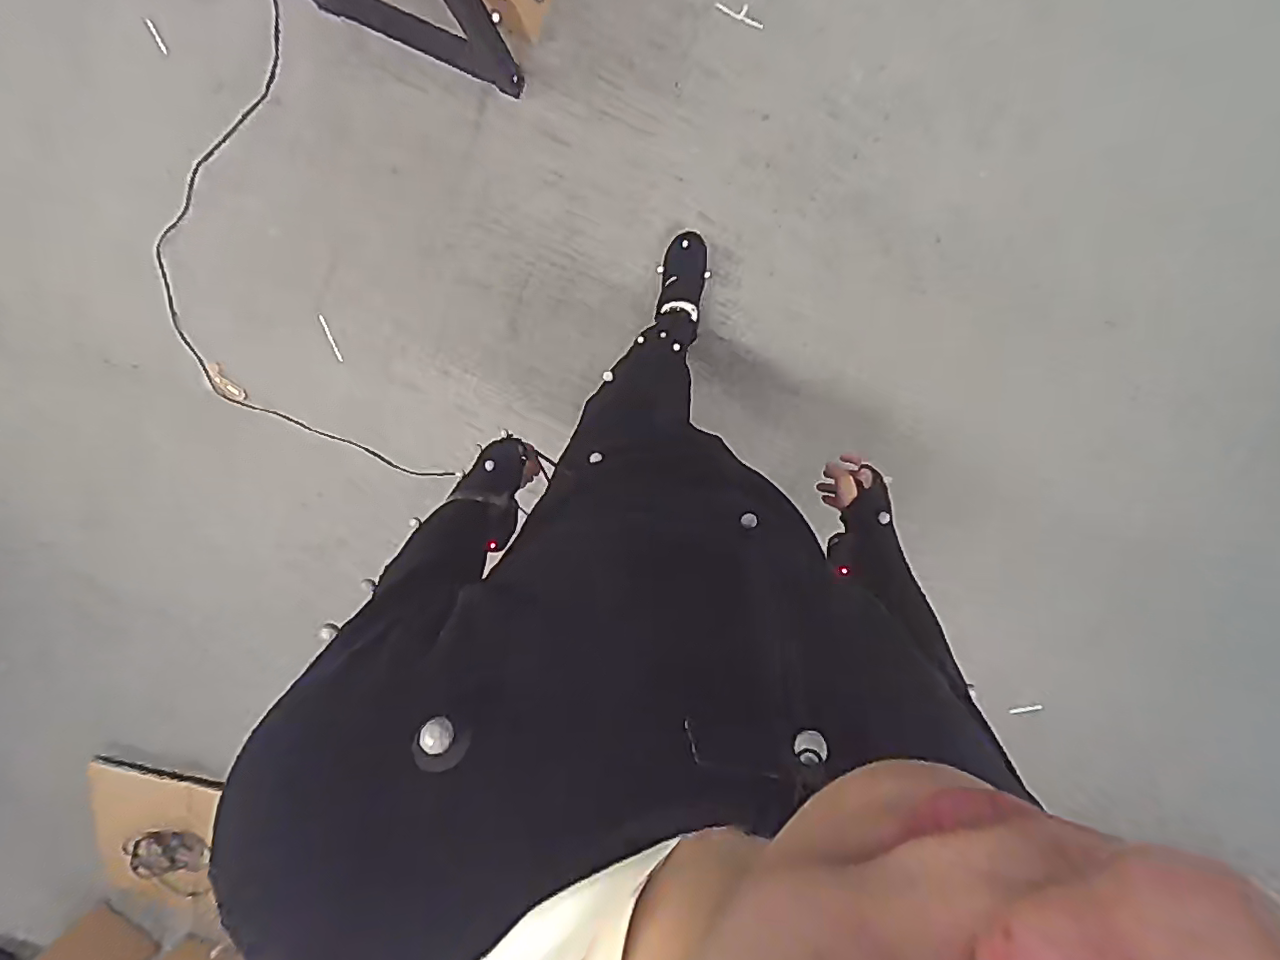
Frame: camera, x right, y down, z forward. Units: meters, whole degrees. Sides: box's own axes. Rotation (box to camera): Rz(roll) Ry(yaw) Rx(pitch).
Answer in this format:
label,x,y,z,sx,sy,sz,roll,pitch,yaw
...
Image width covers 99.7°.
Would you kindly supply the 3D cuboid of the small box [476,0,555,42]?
label,x,y,z,sx,sy,sz,roll,pitch,yaw
small box,-0.305,-1.216,1.299,0.168,0.176,0.179,28,103,-1
